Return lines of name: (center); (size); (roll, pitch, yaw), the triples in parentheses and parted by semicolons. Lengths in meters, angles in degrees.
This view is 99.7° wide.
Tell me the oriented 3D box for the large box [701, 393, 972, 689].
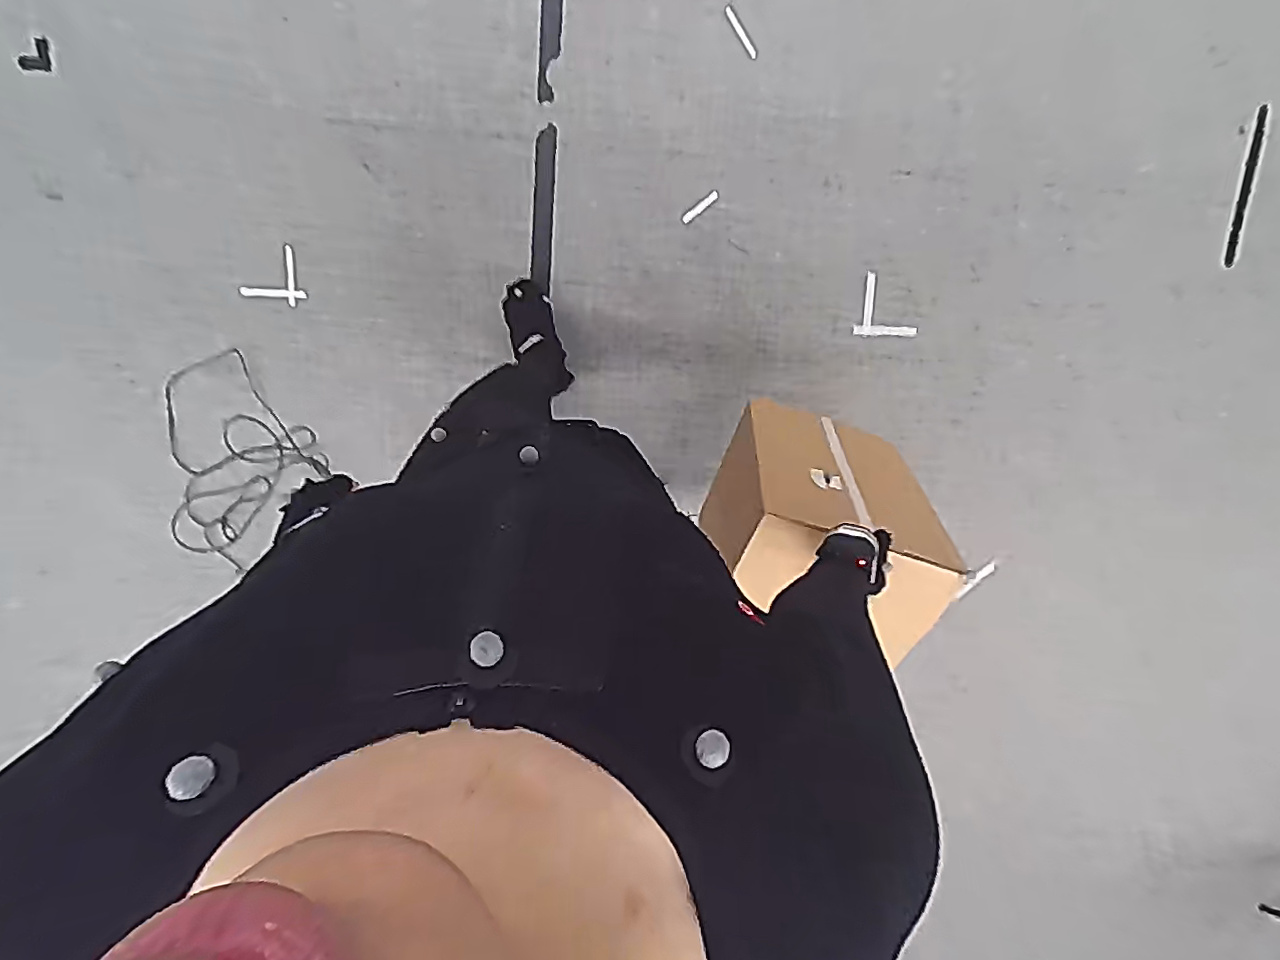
large box: (0.311, 0.097, 1.006); (0.320, 0.408, 0.320); (17, 125, -3)
